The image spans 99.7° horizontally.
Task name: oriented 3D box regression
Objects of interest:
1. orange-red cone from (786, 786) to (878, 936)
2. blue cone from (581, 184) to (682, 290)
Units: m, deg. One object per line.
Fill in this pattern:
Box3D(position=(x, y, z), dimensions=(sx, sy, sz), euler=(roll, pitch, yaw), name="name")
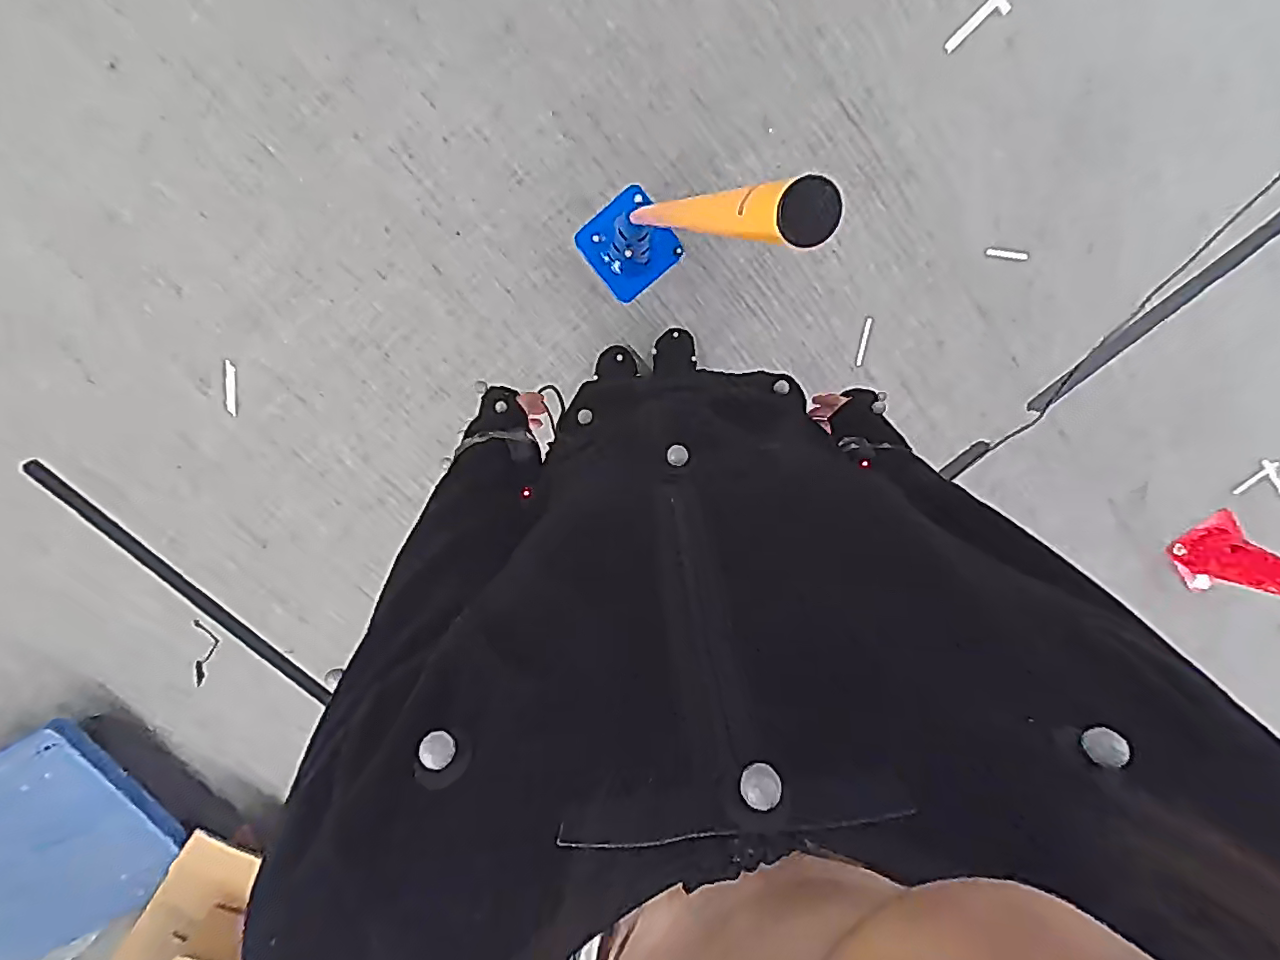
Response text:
Box3D(position=(0.605, 1.147, 1.600), dimensions=(0.199, 0.360, 0.198), euler=(-37, 104, 8), name="orange-red cone")
Box3D(position=(-0.012, -0.527, 1.120), dimensions=(0.192, 0.380, 0.193), euler=(-37, 104, 7), name="blue cone")
